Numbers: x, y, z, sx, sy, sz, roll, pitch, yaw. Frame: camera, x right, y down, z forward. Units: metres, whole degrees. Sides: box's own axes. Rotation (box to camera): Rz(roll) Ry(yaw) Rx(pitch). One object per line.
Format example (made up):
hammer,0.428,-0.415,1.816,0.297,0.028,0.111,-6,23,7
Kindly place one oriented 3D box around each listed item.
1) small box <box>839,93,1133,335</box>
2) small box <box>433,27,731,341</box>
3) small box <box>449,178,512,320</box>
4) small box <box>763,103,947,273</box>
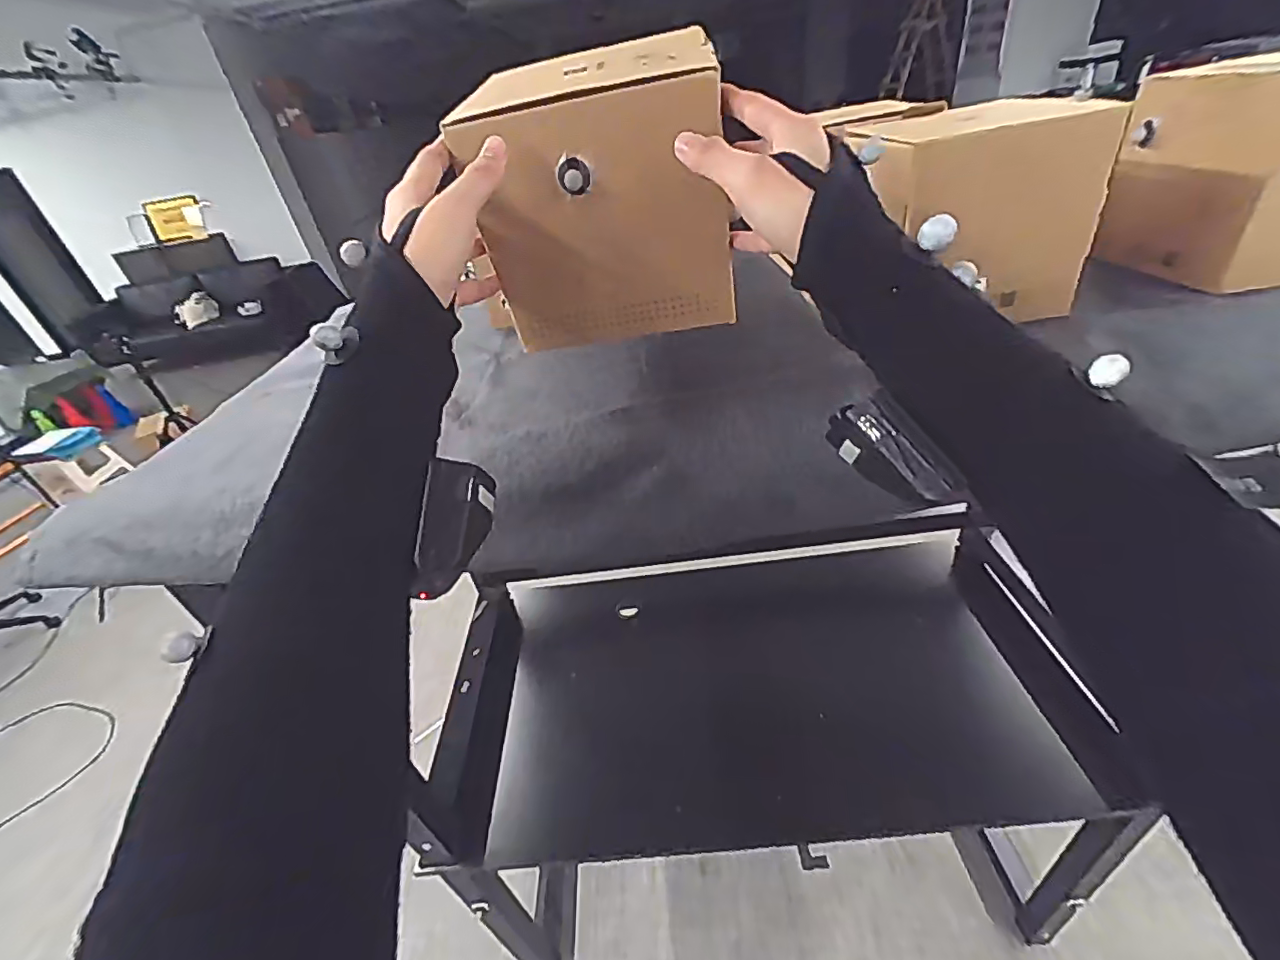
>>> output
small box,0.300,-0.254,0.522,0.168,0.176,0.179,-8,34,5
small box,-0.026,-0.227,0.428,0.179,0.176,0.168,-6,45,8
small box,-0.136,-0.326,0.731,0.168,0.176,0.179,-10,35,0
small box,0.267,-0.389,0.719,0.179,0.176,0.168,-8,34,2
